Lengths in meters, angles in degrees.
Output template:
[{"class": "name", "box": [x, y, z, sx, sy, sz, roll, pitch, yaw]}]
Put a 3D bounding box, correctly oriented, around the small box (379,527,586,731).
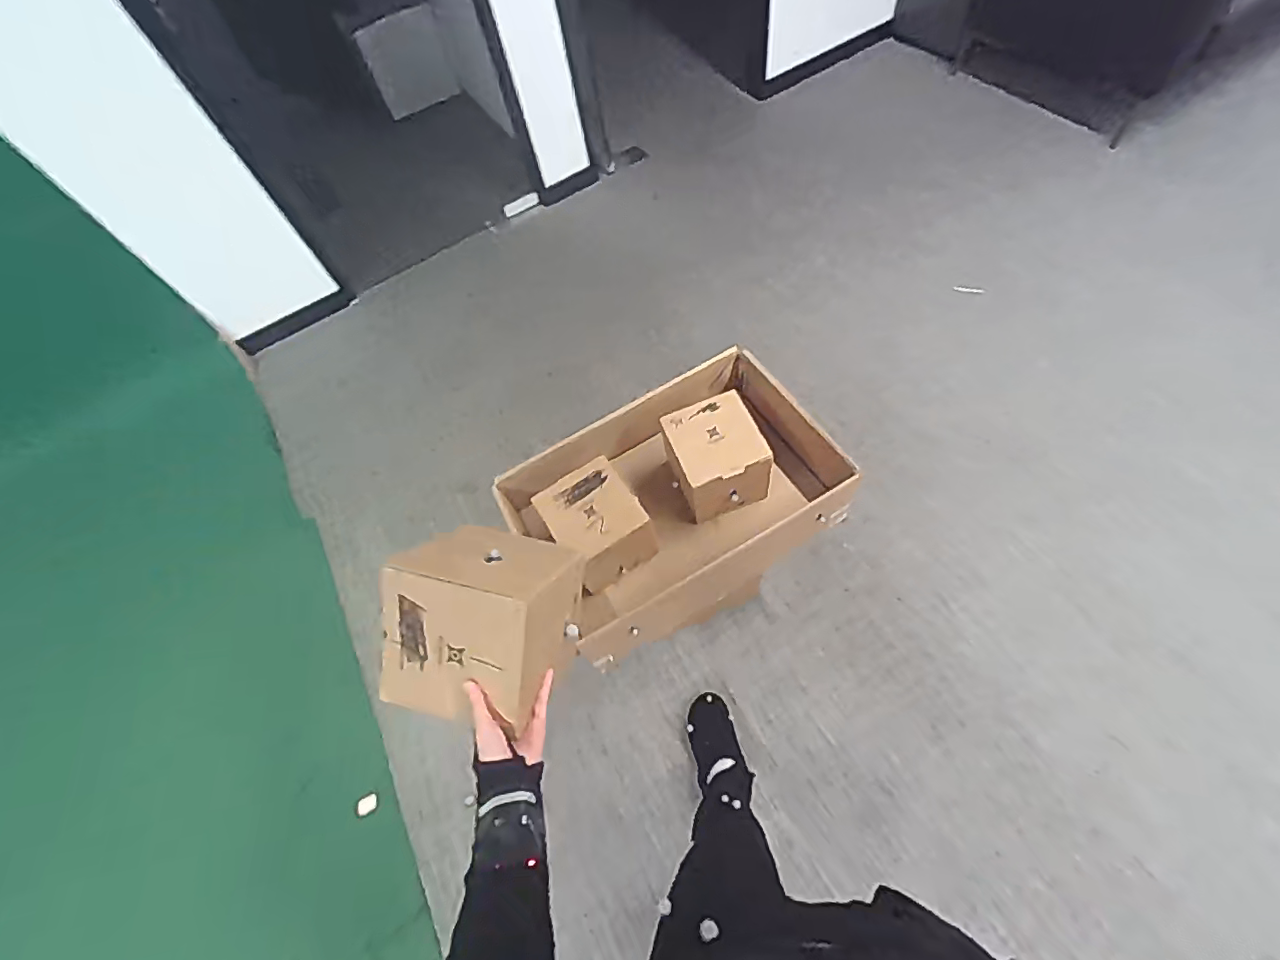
[{"class": "small box", "box": [-0.183, 0.163, 0.658, 0.179, 0.176, 0.168, 10, 101, 13]}]
